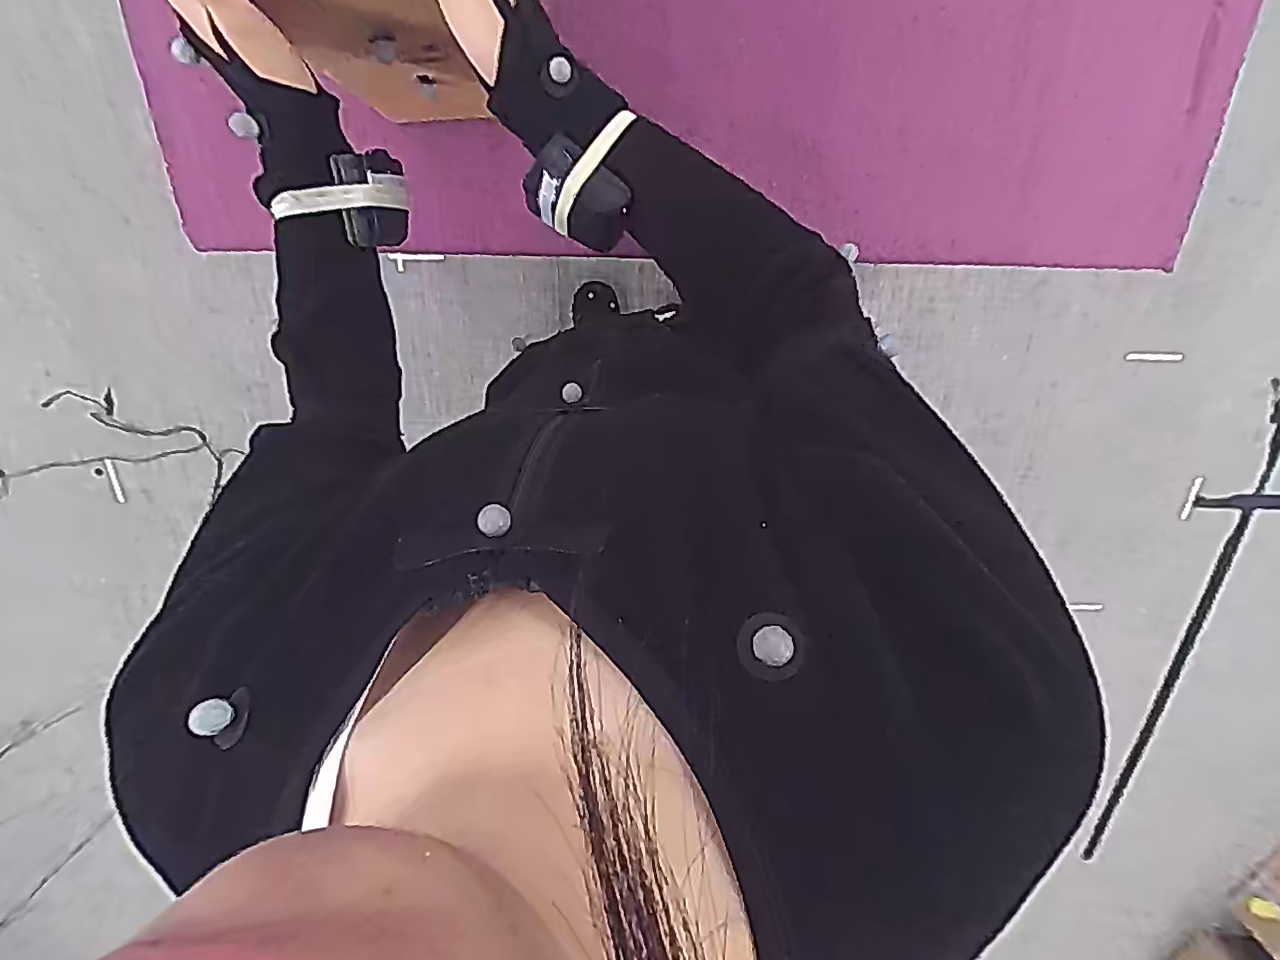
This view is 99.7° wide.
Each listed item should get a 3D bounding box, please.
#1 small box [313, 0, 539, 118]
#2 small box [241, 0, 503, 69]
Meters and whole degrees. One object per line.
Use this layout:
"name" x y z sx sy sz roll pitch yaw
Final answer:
"small box" -0.194 -0.456 0.503 0.179 0.176 0.168 -3 111 -1
"small box" -0.197 -0.403 0.347 0.168 0.176 0.179 -6 112 0
